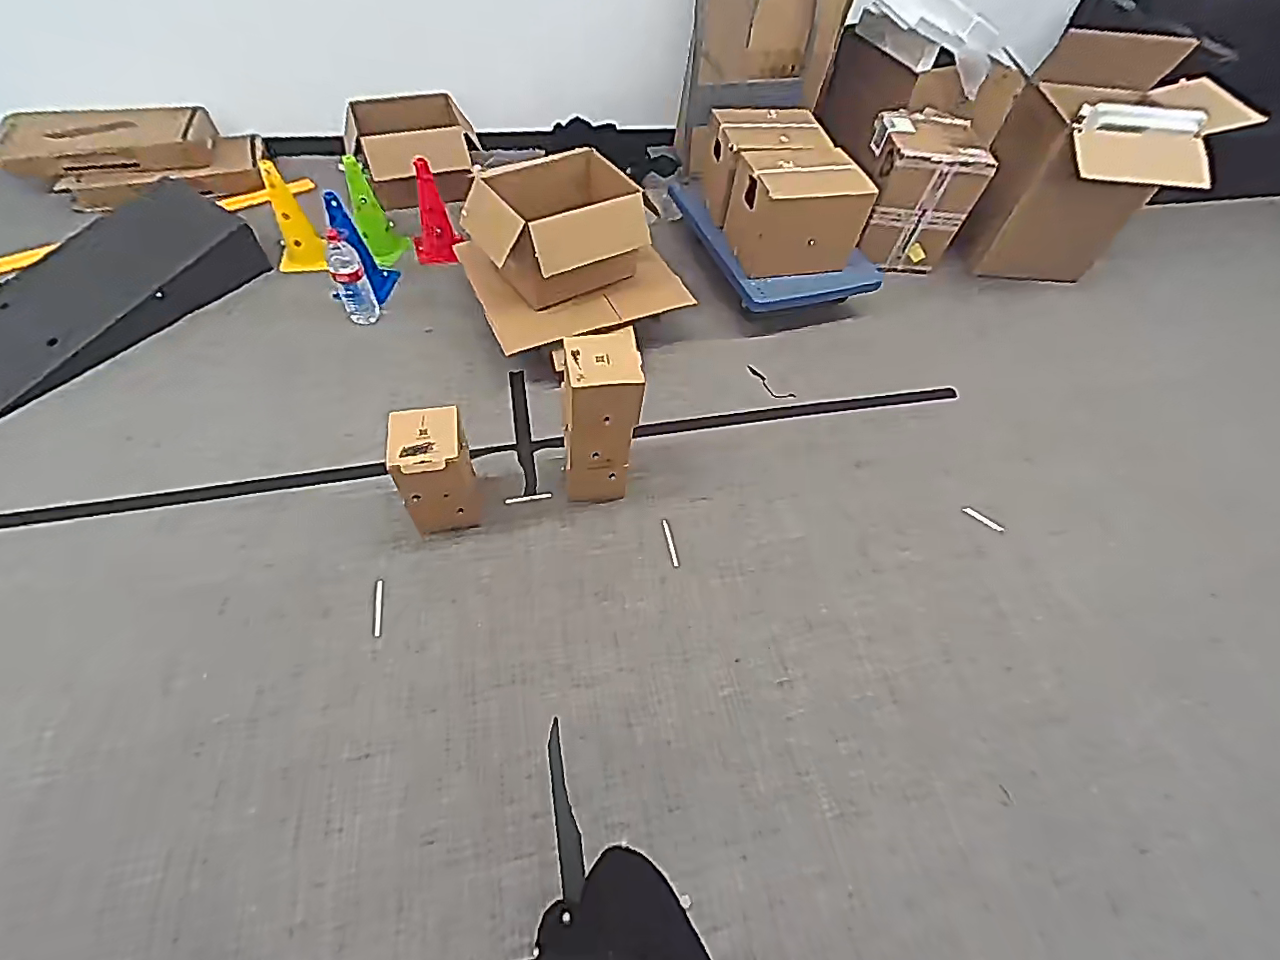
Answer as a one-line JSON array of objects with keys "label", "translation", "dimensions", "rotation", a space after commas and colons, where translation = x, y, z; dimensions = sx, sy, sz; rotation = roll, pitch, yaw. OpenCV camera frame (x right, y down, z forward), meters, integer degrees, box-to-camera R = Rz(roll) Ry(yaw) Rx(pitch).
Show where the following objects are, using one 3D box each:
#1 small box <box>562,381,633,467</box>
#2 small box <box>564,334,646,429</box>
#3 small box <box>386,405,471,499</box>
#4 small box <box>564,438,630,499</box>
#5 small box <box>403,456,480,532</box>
[{"label": "small box", "translation": [-0.122, -0.158, 1.481], "dimensions": [0.168, 0.176, 0.179], "rotation": [-8, 58, -12]}, {"label": "small box", "translation": [-0.094, -0.242, 1.342], "dimensions": [0.179, 0.176, 0.168], "rotation": [-5, 58, -11]}, {"label": "small box", "translation": [-0.532, -0.064, 1.376], "dimensions": [0.168, 0.176, 0.179], "rotation": [-8, 56, -11]}, {"label": "small box", "translation": [-0.133, -0.058, 1.609], "dimensions": [0.179, 0.176, 0.168], "rotation": [-4, 57, -9]}, {"label": "small box", "translation": [-0.551, 0.027, 1.512], "dimensions": [0.179, 0.176, 0.168], "rotation": [-11, 58, -11]}]
